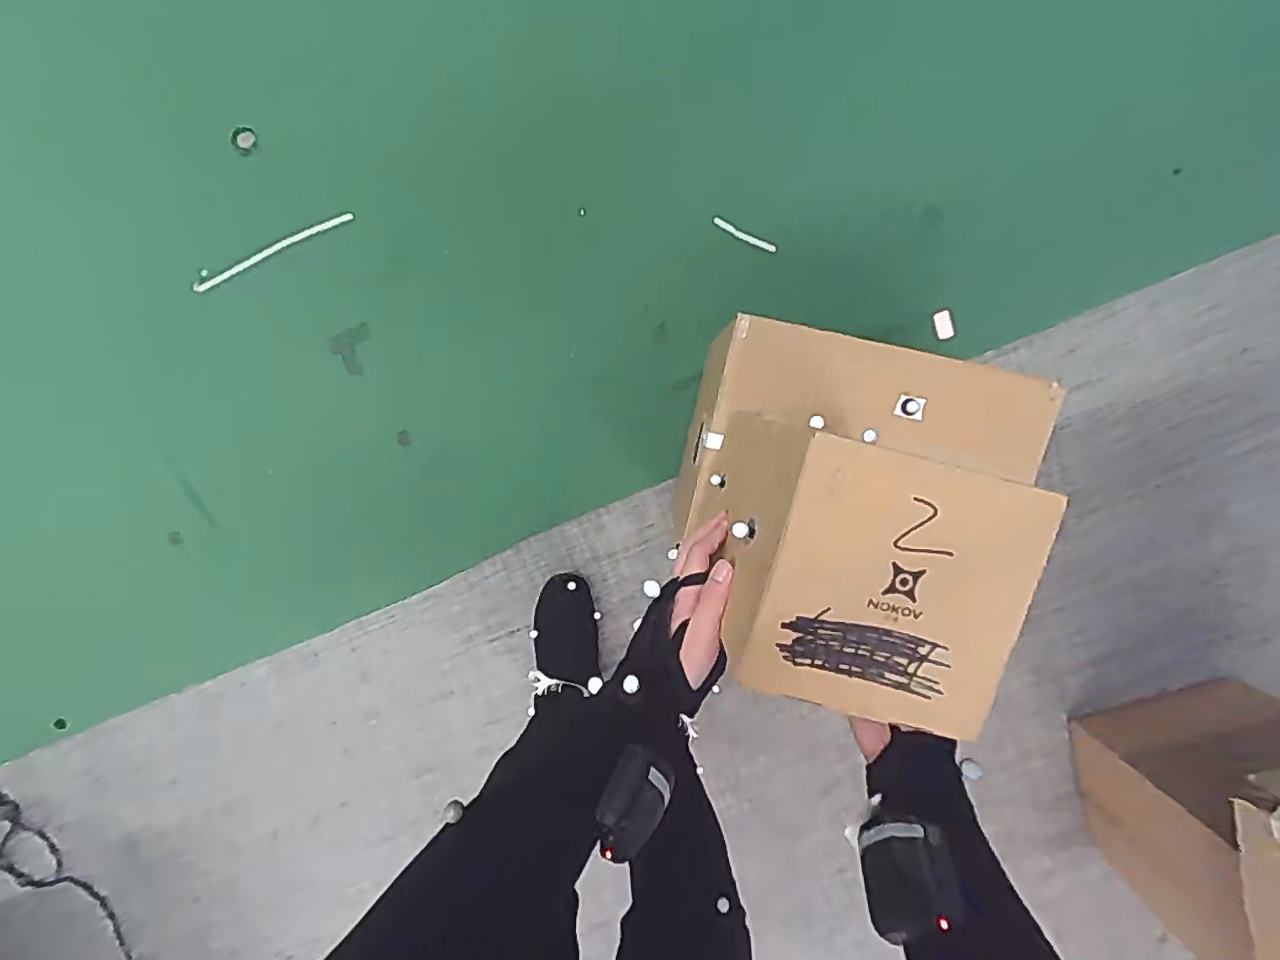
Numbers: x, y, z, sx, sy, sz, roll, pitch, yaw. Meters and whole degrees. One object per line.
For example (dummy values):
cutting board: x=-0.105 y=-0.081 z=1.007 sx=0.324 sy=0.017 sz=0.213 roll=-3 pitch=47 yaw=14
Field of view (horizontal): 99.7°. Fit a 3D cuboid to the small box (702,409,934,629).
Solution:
small box: x=0.171 y=0.028 z=0.585 sx=0.168 sy=0.176 sz=0.179 roll=16 pitch=98 yaw=-2
